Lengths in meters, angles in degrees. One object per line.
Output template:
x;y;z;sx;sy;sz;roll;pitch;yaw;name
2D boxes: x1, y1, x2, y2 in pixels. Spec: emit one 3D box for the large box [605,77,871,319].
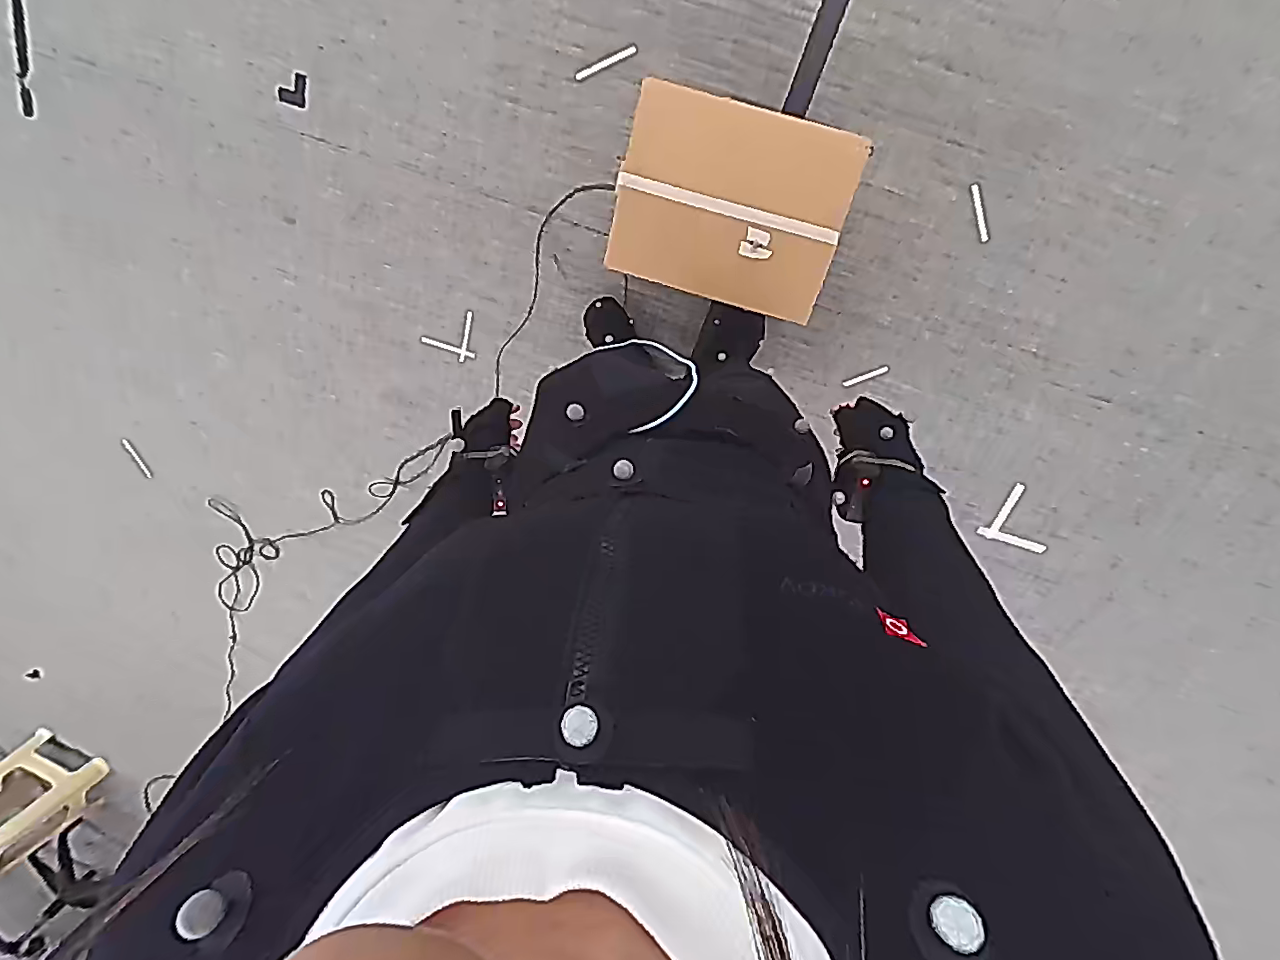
0.176;-0.546;1.096;0.408;0.320;0.320;17;115;2;large box
